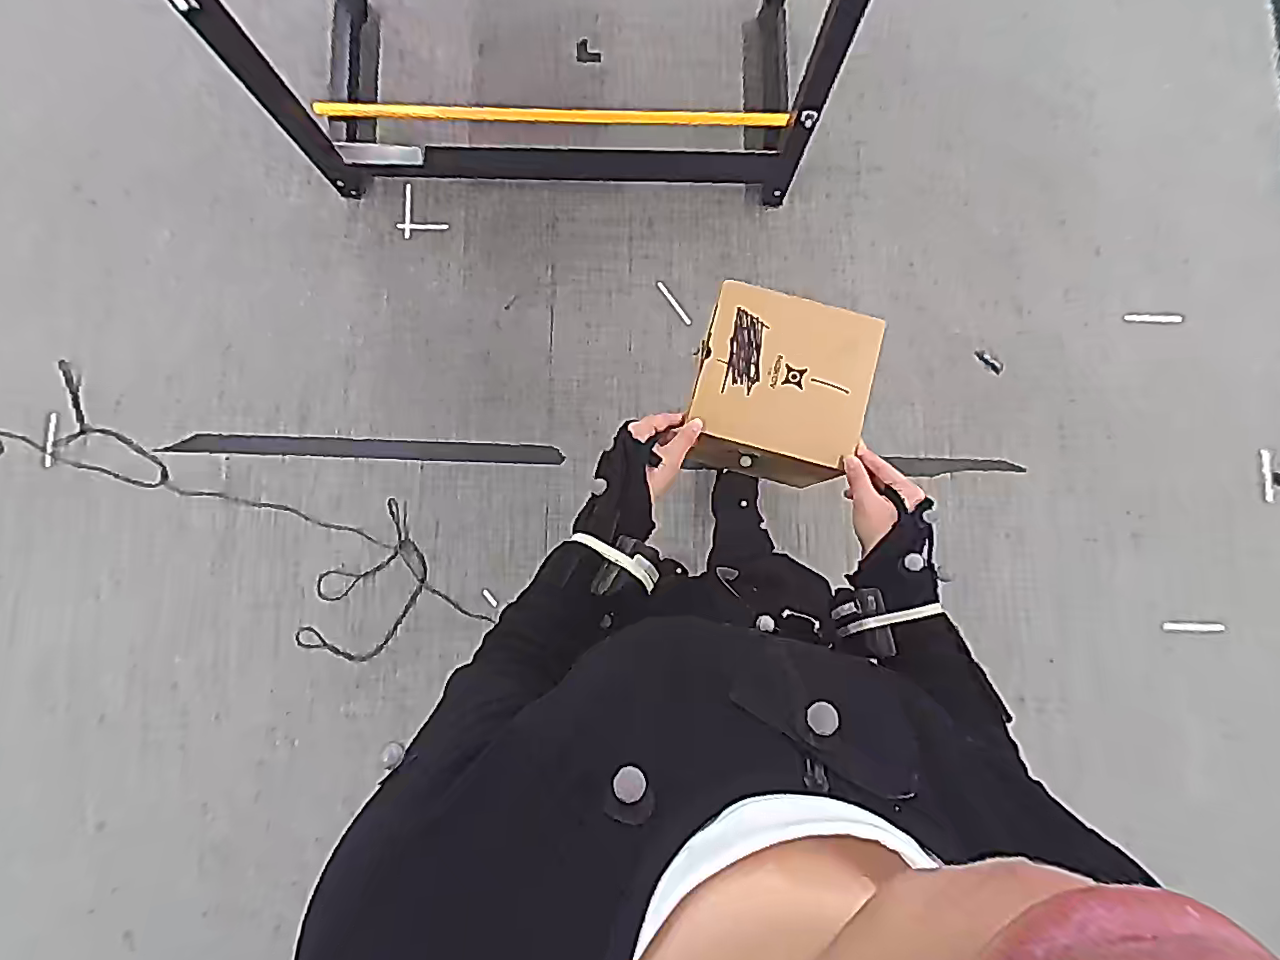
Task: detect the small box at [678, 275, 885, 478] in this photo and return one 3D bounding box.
[{"bbox_3d":[0.149,-0.106,0.629,0.179,0.176,0.168,15,84,1],"label":"small box"}]
